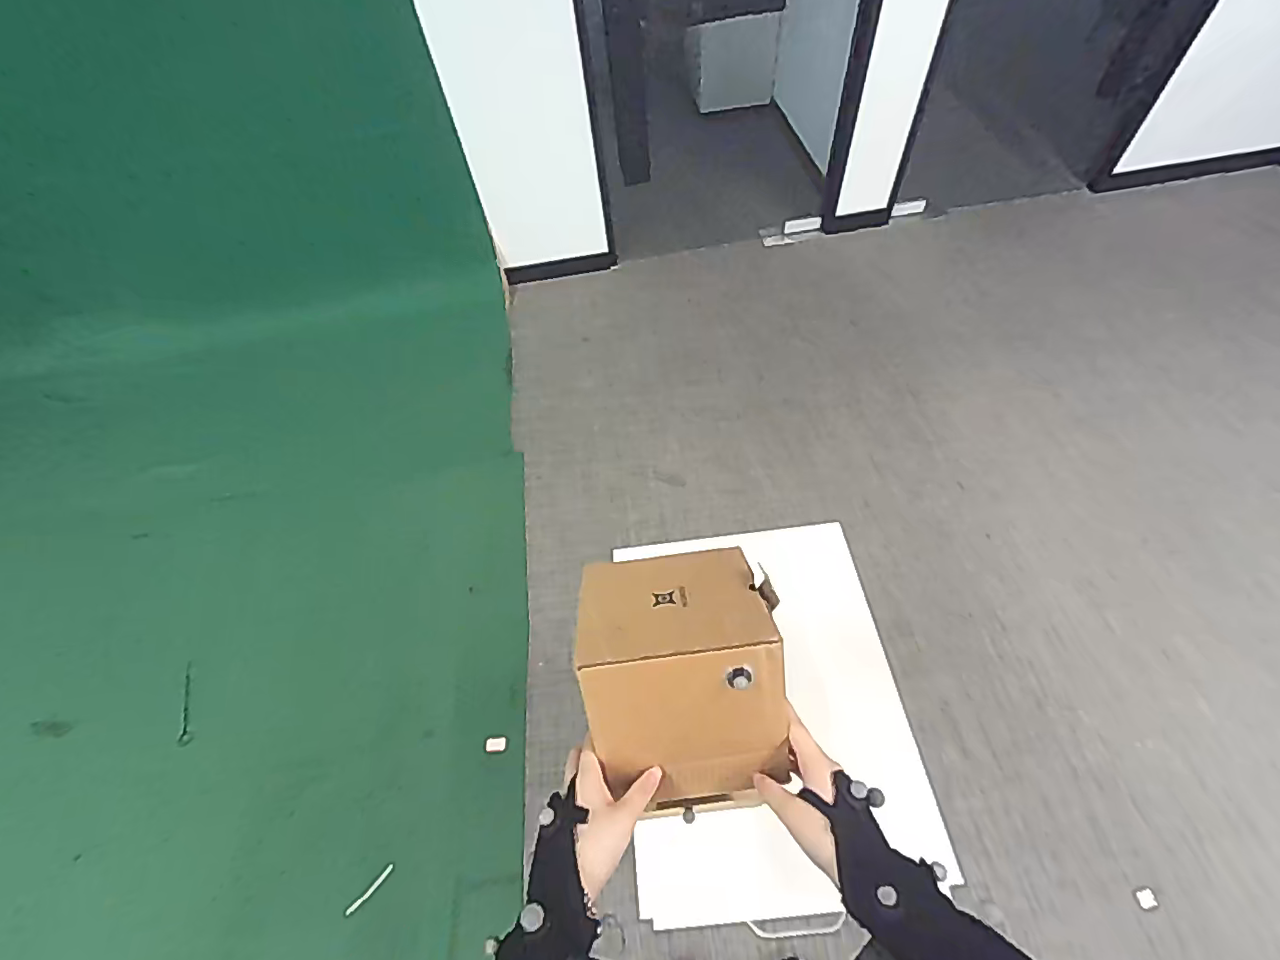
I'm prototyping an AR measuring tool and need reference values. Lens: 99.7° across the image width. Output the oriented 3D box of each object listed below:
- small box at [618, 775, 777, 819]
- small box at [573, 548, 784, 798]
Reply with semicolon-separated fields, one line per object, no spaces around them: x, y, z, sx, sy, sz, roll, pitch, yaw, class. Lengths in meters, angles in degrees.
0.063;0.328;0.693;0.179;0.176;0.168;-7;55;0;small box
0.038;0.190;0.547;0.179;0.176;0.168;-7;21;0;small box
